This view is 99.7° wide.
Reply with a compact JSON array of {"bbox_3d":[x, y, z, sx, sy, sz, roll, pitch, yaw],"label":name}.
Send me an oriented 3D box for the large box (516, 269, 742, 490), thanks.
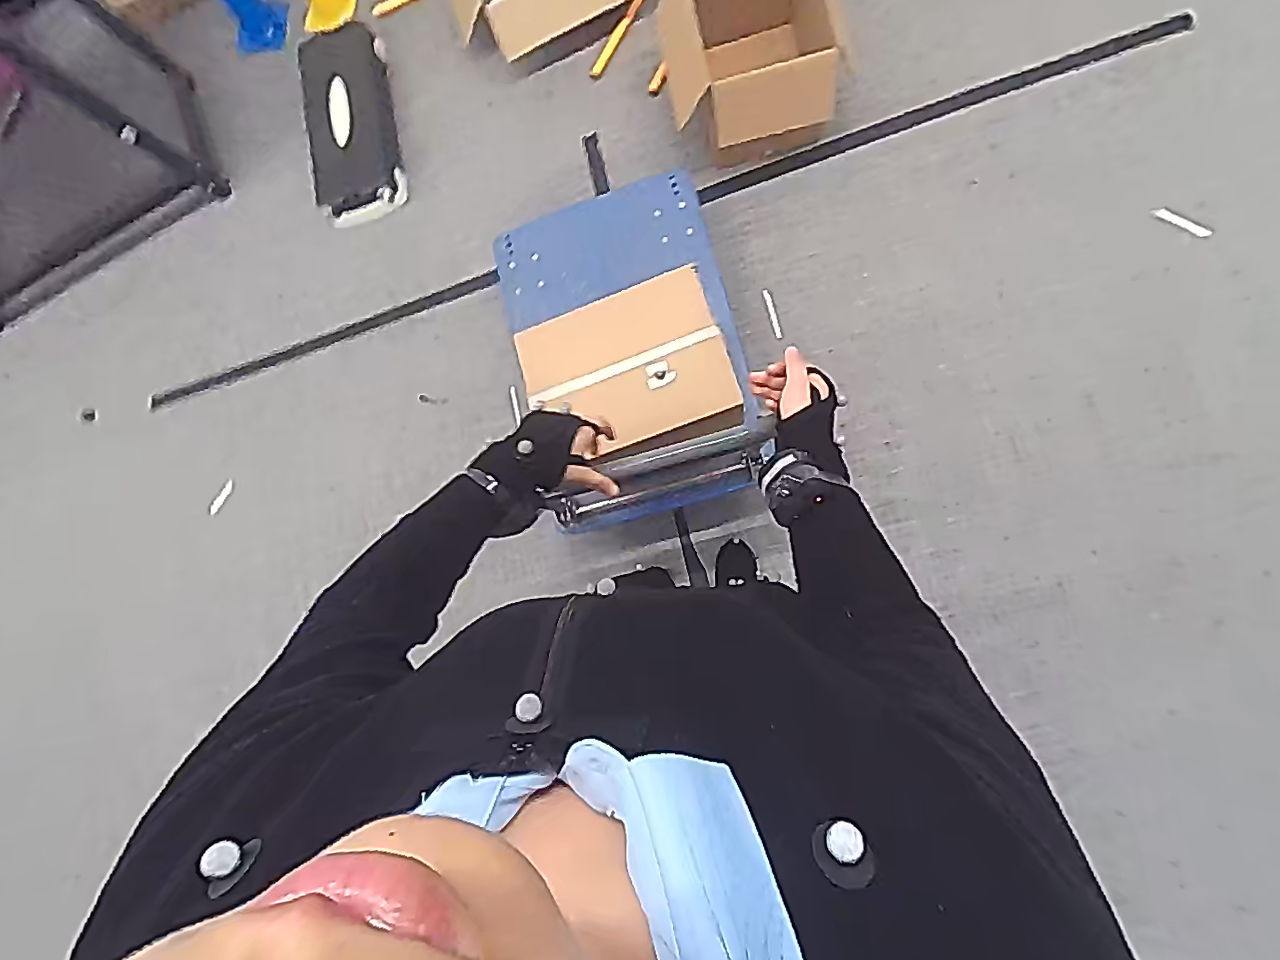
[{"bbox_3d":[-0.010,-0.200,1.240,0.408,0.320,0.320,-20,80,6],"label":"large box"}]
